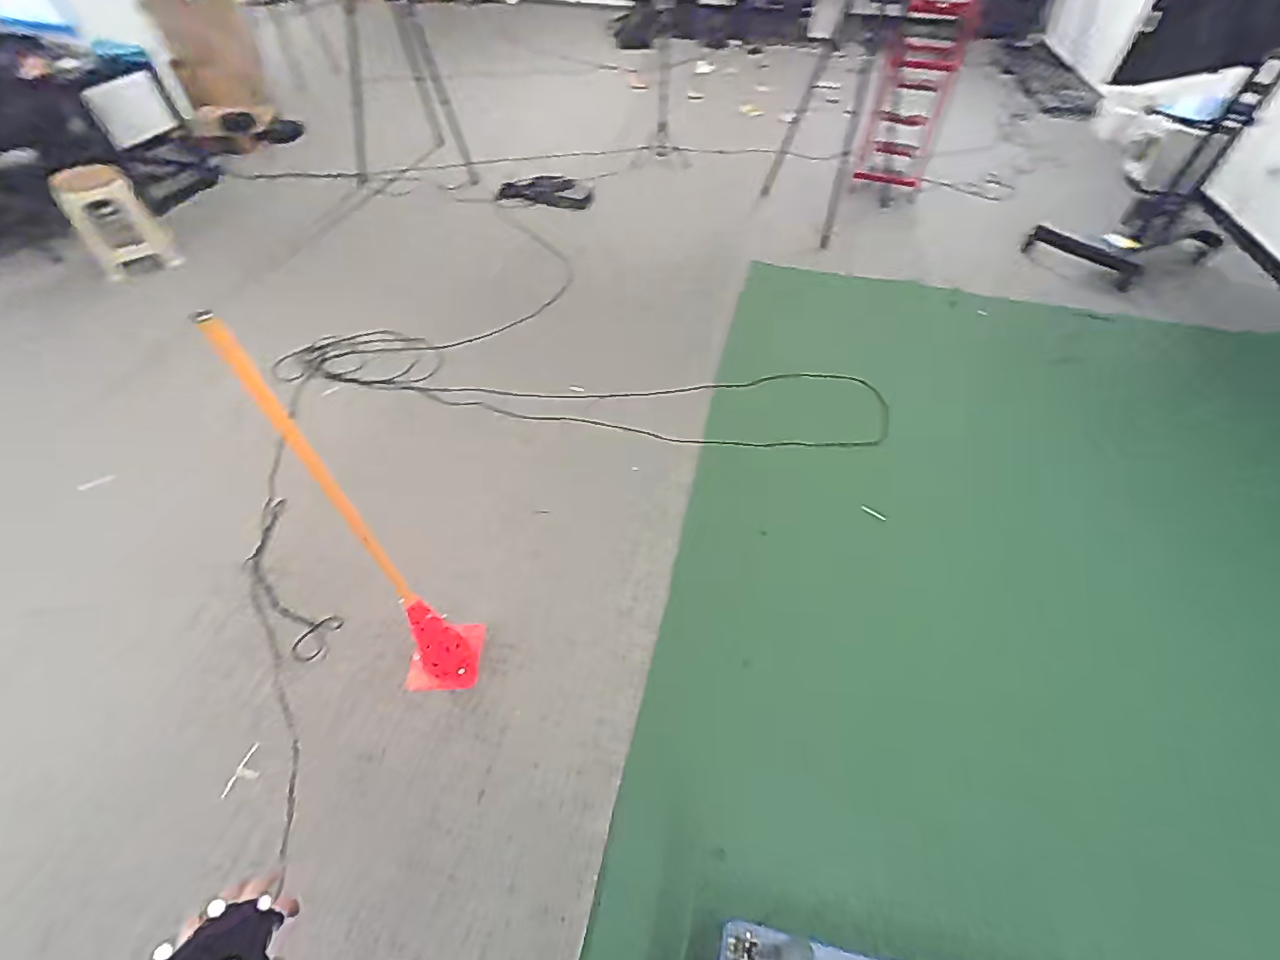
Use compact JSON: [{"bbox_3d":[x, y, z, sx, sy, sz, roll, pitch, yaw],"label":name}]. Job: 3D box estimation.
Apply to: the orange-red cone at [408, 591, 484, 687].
[{"bbox_3d":[-0.577,0.409,1.500,0.198,0.360,0.199,1,49,-2],"label":"orange-red cone"}]
